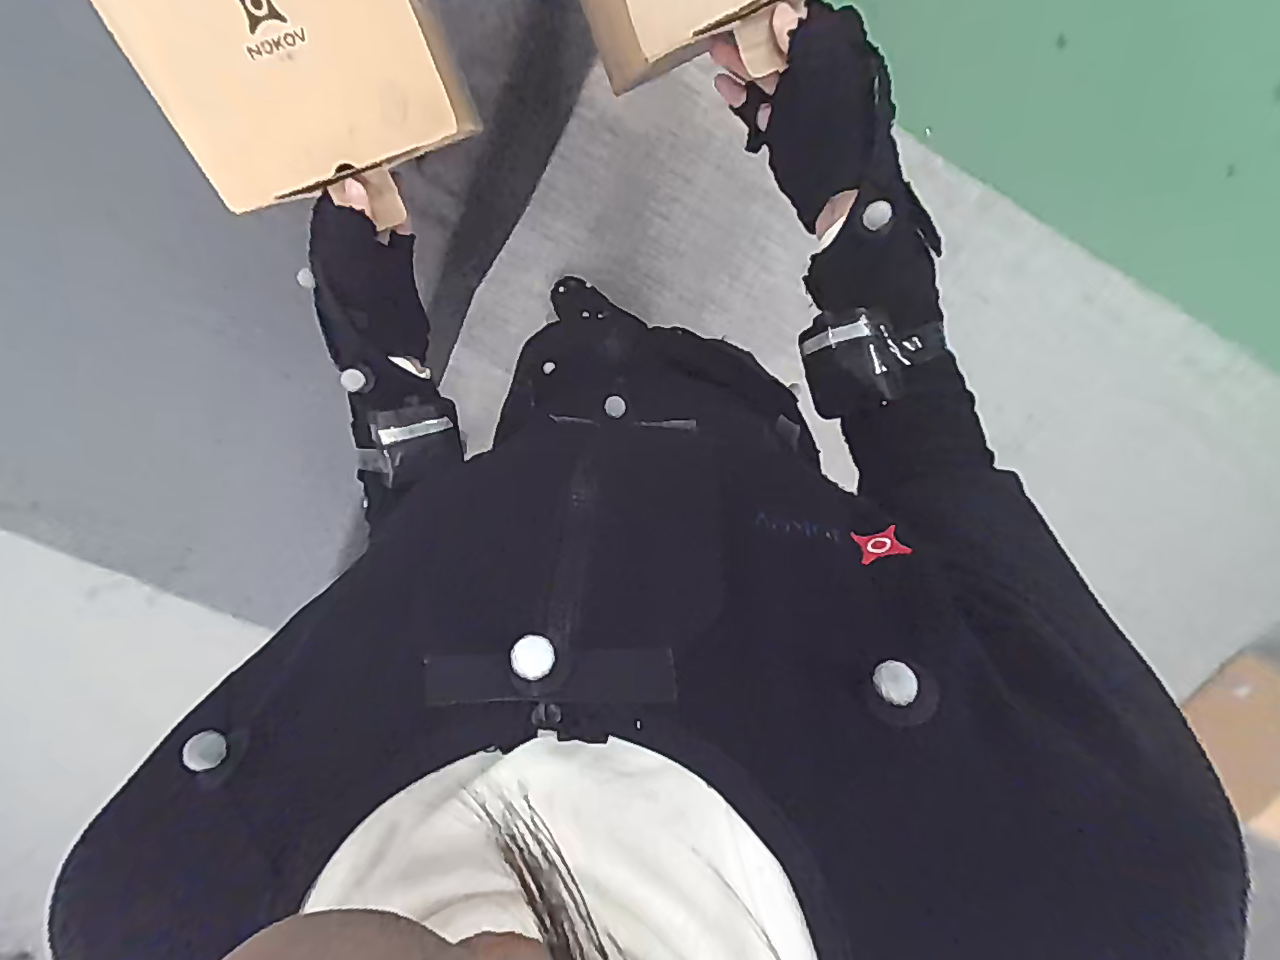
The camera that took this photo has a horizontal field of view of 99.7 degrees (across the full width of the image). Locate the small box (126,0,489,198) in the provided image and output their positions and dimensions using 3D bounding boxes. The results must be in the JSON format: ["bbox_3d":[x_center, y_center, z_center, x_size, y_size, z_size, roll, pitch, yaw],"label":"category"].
[{"bbox_3d":[-0.217,-0.323,0.375,0.168,0.176,0.179,-18,124,1],"label":"small box"}]
